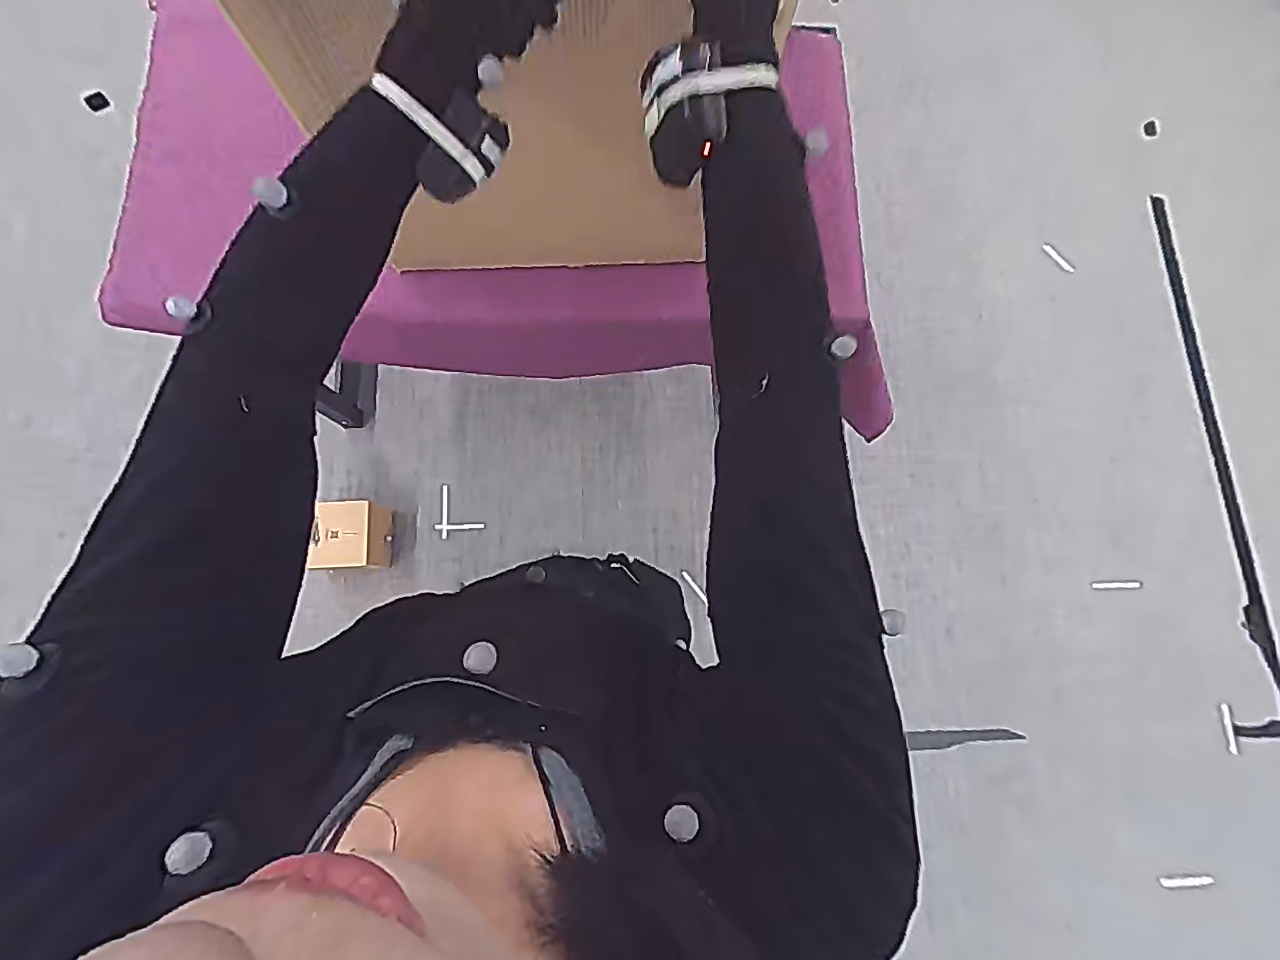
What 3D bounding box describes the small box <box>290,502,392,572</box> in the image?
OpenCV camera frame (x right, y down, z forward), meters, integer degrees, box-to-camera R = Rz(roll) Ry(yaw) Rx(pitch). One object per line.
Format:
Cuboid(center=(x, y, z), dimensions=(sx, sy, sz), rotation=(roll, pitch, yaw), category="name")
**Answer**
Cuboid(center=(-0.769, 0.152, 1.406), dimensions=(0.179, 0.176, 0.168), rotation=(-2, 79, -6), category="small box")
